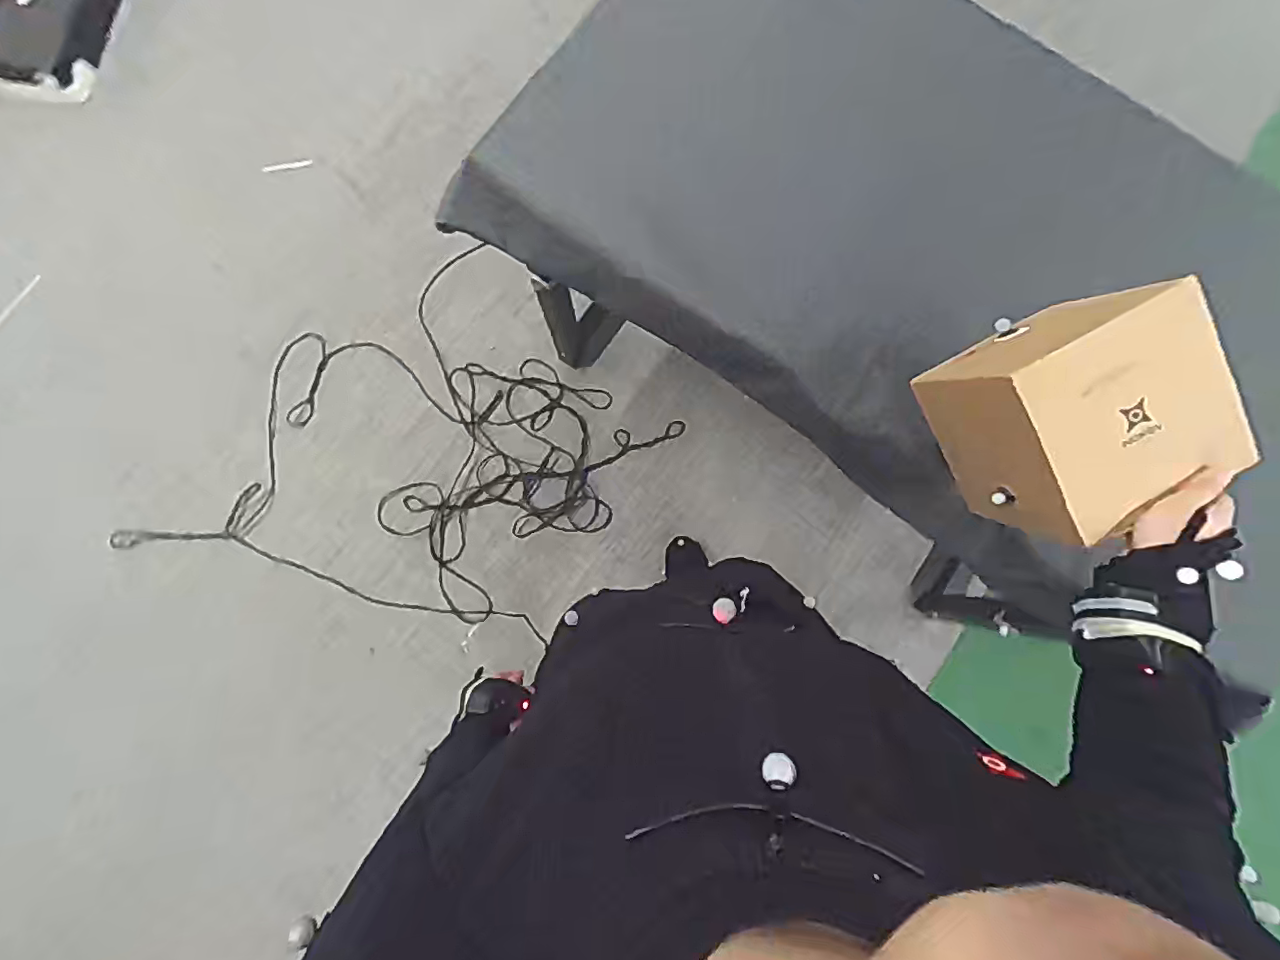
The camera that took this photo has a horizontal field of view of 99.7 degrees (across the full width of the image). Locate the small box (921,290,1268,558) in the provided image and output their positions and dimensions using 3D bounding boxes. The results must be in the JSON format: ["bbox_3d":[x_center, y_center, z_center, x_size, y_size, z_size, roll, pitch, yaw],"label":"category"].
[{"bbox_3d":[0.418,-0.056,0.529,0.168,0.176,0.179,-29,98,4],"label":"small box"}]
